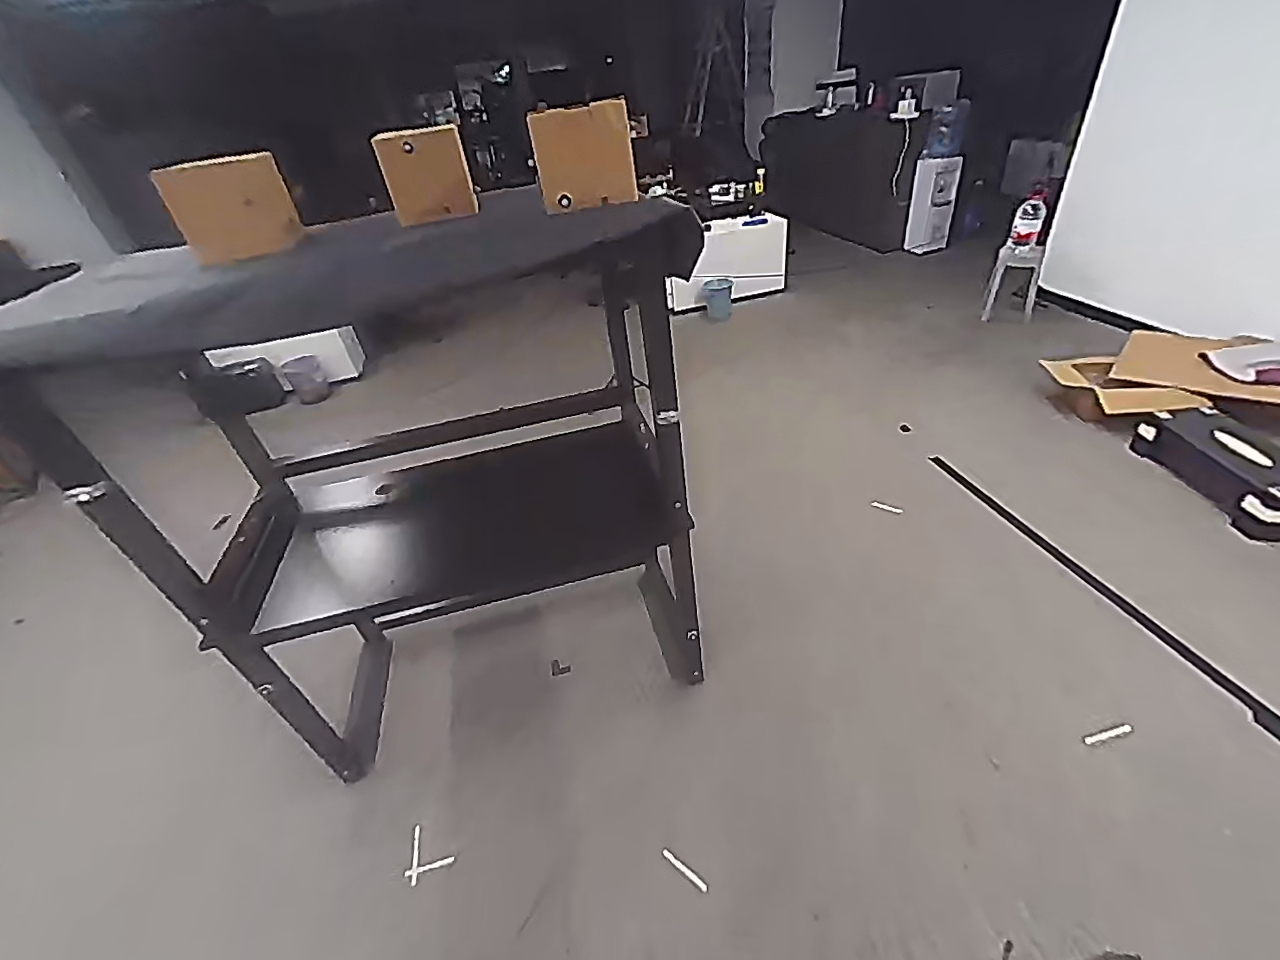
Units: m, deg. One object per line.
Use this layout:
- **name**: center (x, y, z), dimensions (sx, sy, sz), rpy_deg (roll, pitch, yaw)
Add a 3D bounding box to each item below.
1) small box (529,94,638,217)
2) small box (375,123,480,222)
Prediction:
- **small box**: center (-0.105, -0.597, 1.006), dimensions (0.168, 0.176, 0.179), rpy_deg (-12, 32, -4)
- **small box**: center (-0.459, -0.680, 1.198), dimensions (0.168, 0.176, 0.179), rpy_deg (-14, 36, -7)
